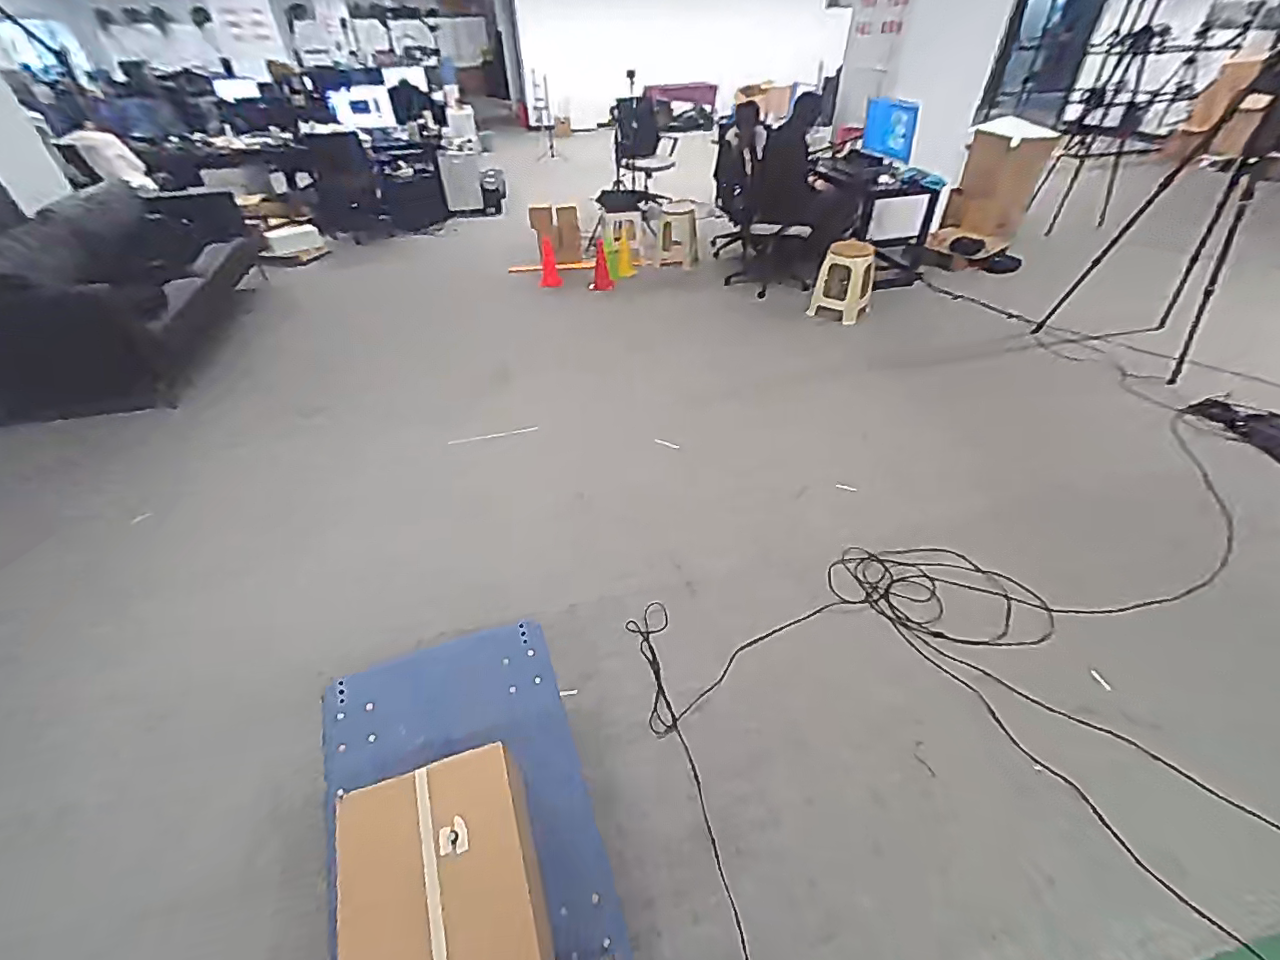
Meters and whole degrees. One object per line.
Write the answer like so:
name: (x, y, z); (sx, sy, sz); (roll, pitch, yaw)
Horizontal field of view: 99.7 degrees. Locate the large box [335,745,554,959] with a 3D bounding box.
large box: (-0.374, 0.813, 1.064); (0.320, 0.320, 0.408); (-13, 54, -15)
